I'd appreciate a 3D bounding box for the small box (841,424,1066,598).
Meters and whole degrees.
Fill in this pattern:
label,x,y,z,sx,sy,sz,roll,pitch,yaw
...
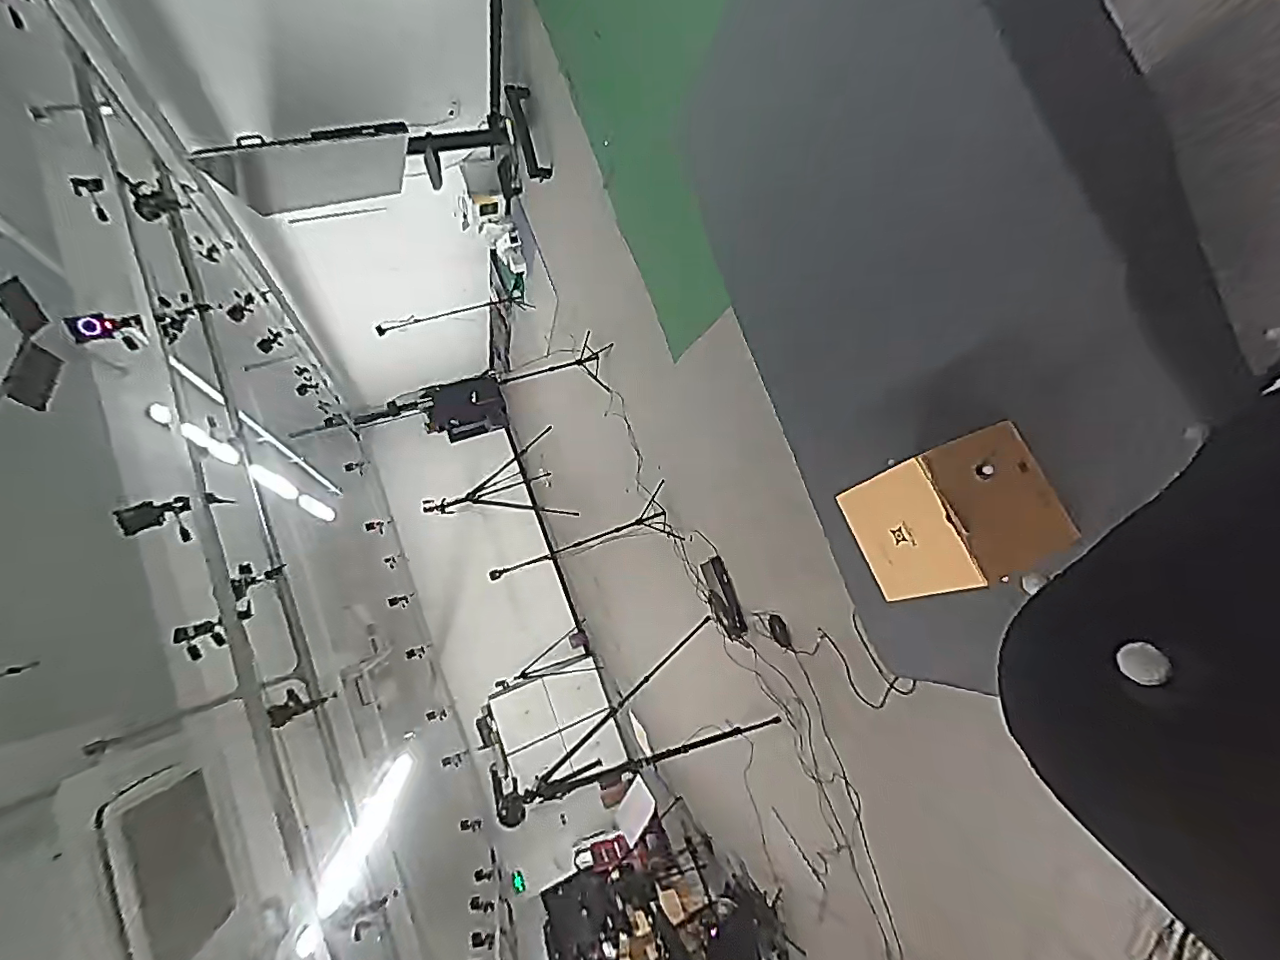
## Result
label,x,y,z,sx,sy,sz,roll,pitch,yaw
small box,0.415,0.043,0.724,0.179,0.176,0.168,123,127,-68
